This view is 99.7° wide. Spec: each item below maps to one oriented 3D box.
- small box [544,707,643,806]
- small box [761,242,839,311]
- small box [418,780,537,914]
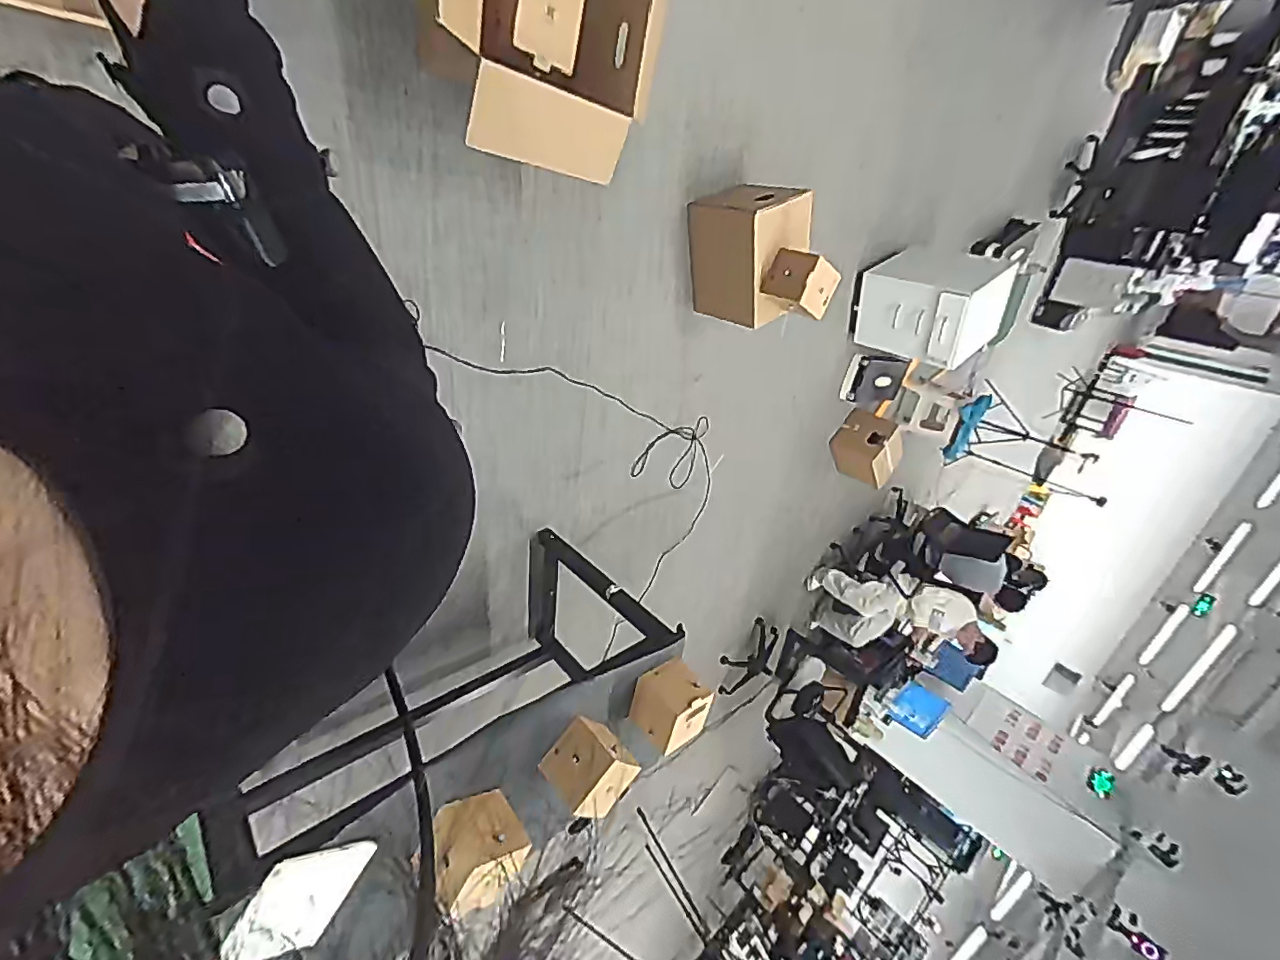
[{"bbox_3d":[-0.128,0.750,1.473,0.168,0.176,0.179,-49,142,-9],"label":"small box"},{"bbox_3d":[0.555,-0.714,1.893,0.179,0.176,0.168,11,107,-48],"label":"small box"},{"bbox_3d":[-0.383,0.842,1.261,0.179,0.176,0.168,21,100,-53],"label":"small box"}]
